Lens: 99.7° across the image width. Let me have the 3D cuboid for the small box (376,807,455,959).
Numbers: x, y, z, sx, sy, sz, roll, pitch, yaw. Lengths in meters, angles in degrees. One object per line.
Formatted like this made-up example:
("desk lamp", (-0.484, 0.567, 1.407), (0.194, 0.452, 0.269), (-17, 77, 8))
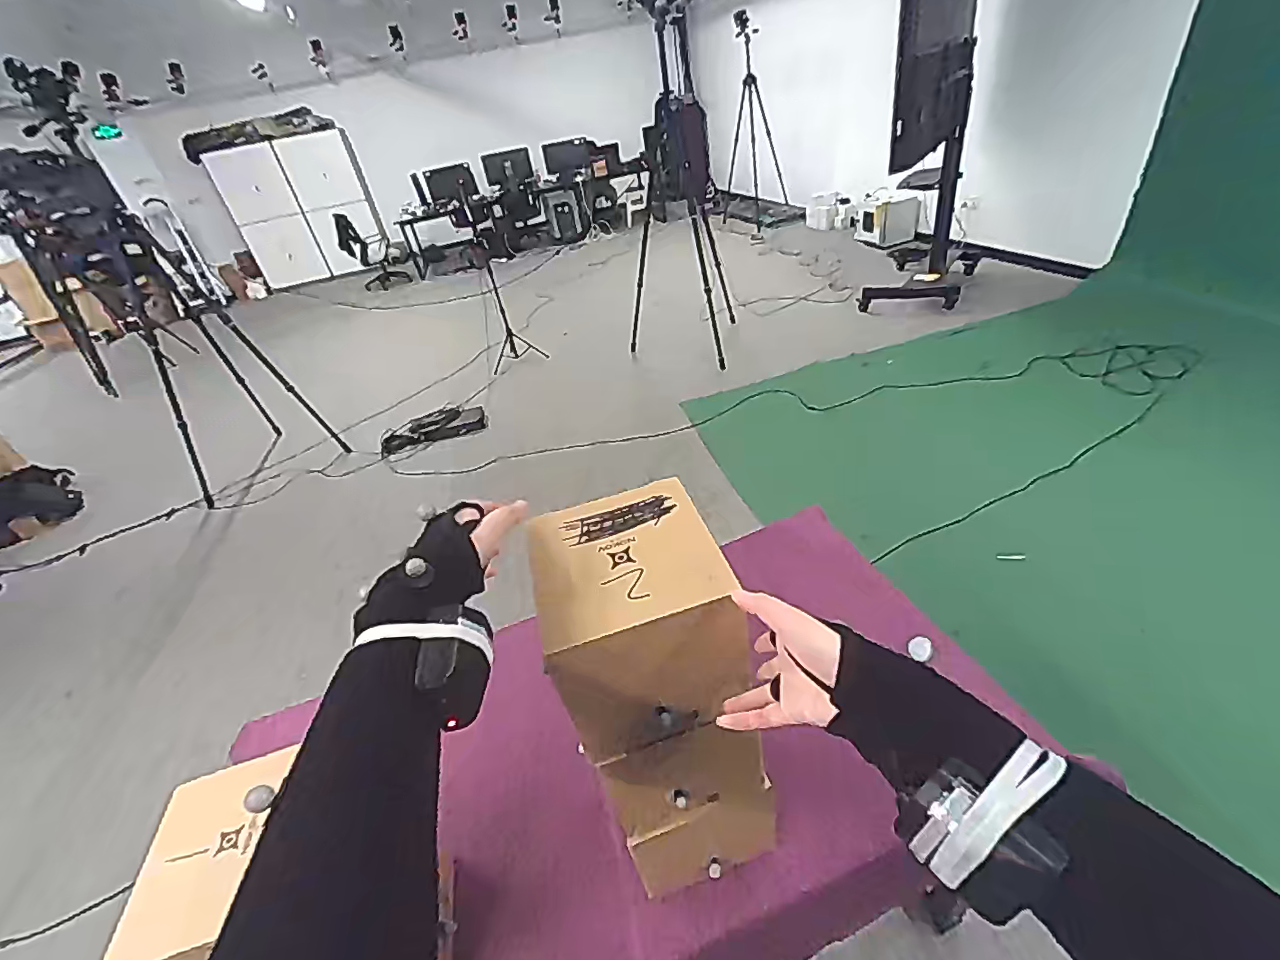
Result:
("small box", (-0.336, 0.535, 0.639), (0.179, 0.176, 0.168), (-16, 36, -8))

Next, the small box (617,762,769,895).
("small box", (0.055, 0.400, 0.716), (0.179, 0.176, 0.168), (-17, 35, -9))

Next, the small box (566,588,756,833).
("small box", (0.023, 0.264, 0.631), (0.168, 0.176, 0.179), (-18, 36, -8))
